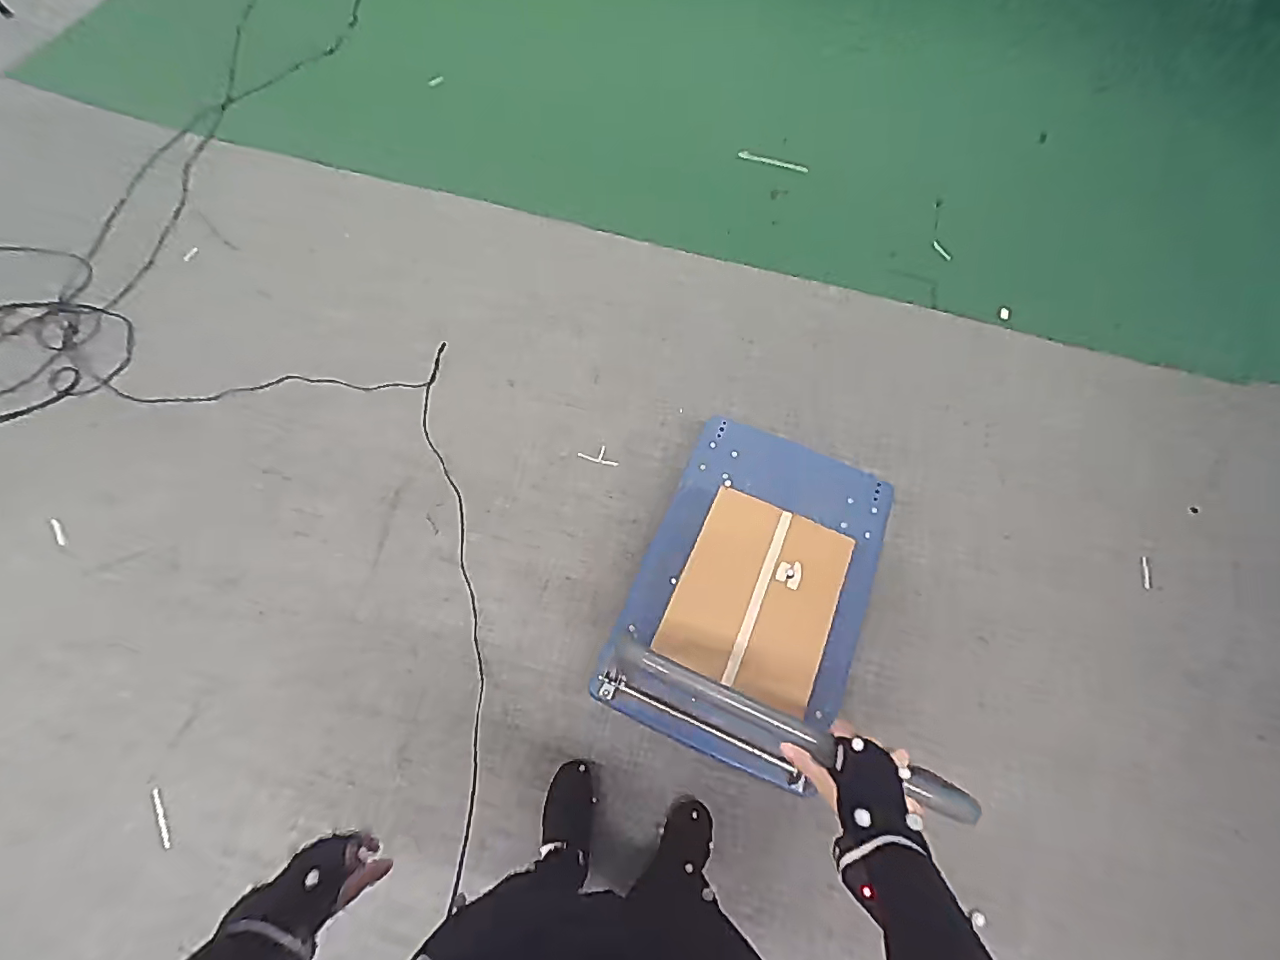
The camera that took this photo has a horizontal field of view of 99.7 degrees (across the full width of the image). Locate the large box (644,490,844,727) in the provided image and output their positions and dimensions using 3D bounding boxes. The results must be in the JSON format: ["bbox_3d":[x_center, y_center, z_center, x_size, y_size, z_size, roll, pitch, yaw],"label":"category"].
[{"bbox_3d":[0.227,0.307,1.257,0.320,0.320,0.408,24,64,8],"label":"large box"}]
